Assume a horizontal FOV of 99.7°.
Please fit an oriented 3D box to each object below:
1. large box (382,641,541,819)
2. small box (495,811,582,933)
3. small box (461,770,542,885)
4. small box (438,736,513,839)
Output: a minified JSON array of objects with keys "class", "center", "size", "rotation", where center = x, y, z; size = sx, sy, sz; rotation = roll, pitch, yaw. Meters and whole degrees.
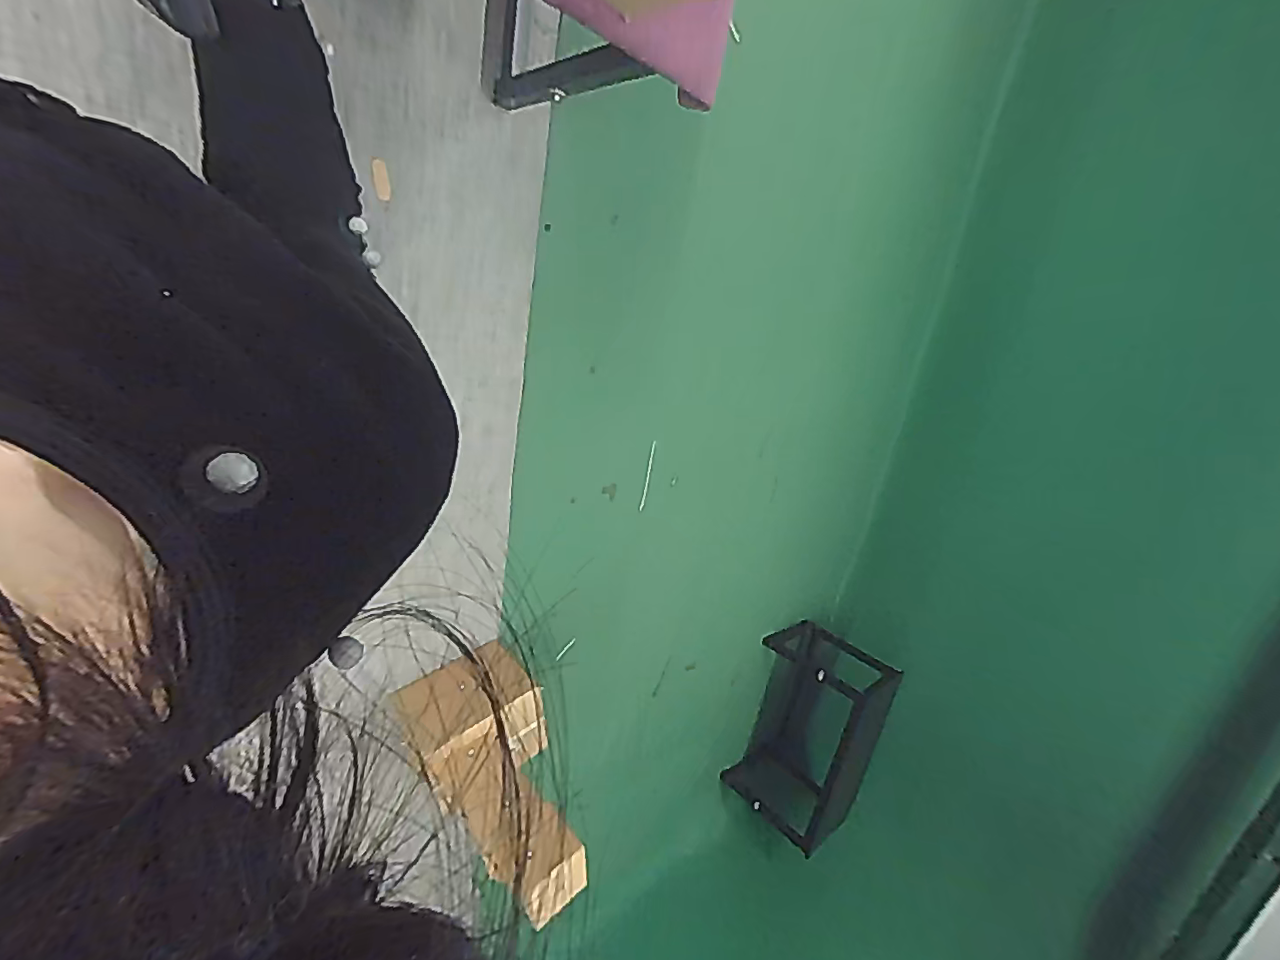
[{"class":"large box","center":[-0.607,0.841,1.874],"size":[0.408,0.320,0.320],"rotation":[-24,126,-38]},{"class":"small box","center":[-0.273,1.032,1.443],"size":[0.168,0.176,0.179],"rotation":[-21,123,-38]},{"class":"small box","center":[-0.393,0.983,1.543],"size":[0.179,0.176,0.168],"rotation":[-23,124,-38]},{"class":"small box","center":[-0.504,0.931,1.653],"size":[0.179,0.176,0.168],"rotation":[-18,121,-39]}]
